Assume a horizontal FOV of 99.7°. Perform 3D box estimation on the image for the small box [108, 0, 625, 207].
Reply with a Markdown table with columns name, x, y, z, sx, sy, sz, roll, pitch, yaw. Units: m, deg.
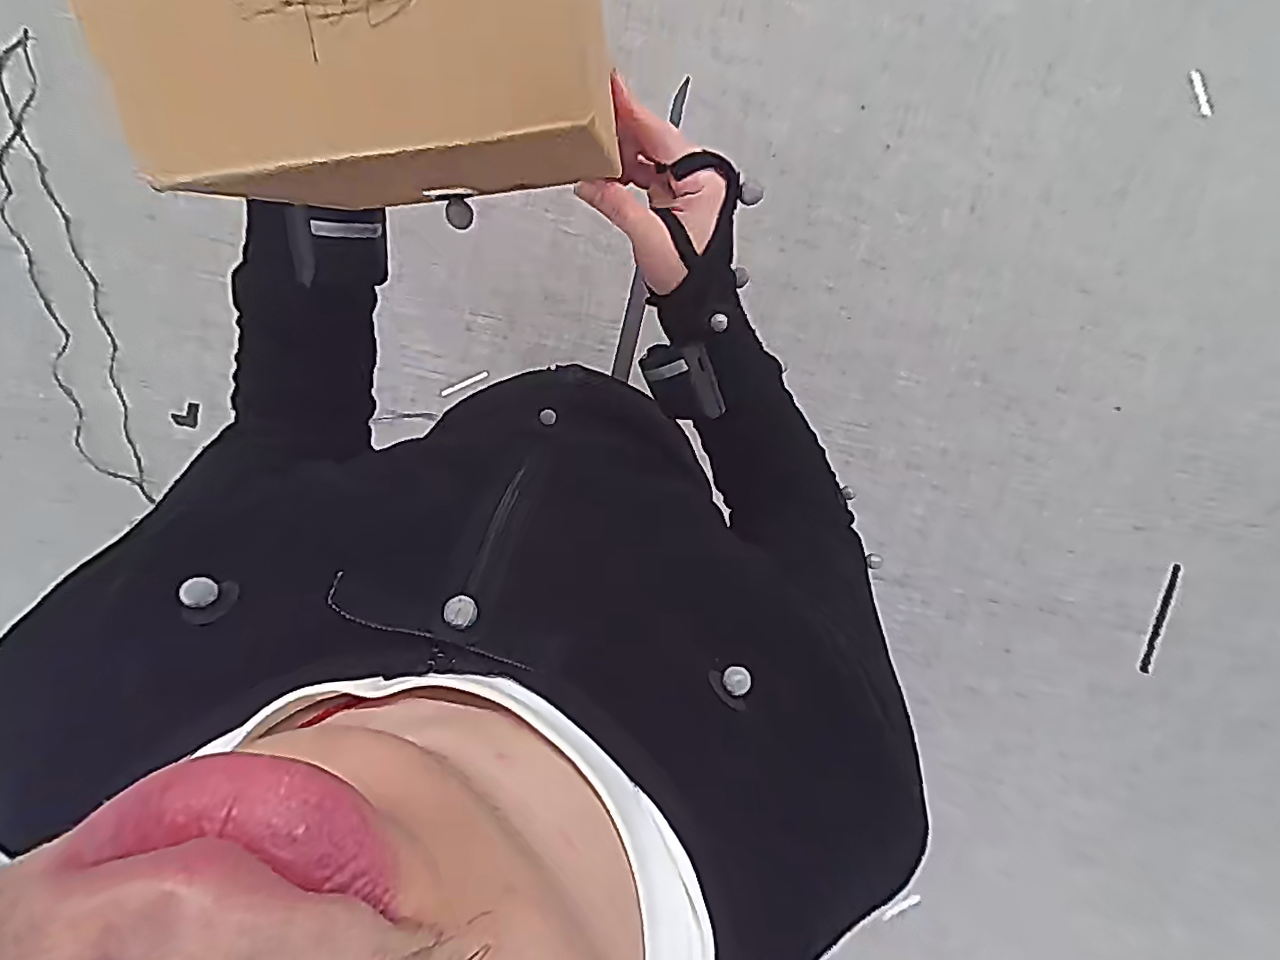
| name | x | y | z | sx | sy | sz | roll | pitch | yaw |
| --- | --- | --- | --- | --- | --- | --- | --- | --- | --- |
| small box | -0.100 | -0.231 | 0.240 | 0.168 | 0.176 | 0.179 | -6 | 114 | 5 |
